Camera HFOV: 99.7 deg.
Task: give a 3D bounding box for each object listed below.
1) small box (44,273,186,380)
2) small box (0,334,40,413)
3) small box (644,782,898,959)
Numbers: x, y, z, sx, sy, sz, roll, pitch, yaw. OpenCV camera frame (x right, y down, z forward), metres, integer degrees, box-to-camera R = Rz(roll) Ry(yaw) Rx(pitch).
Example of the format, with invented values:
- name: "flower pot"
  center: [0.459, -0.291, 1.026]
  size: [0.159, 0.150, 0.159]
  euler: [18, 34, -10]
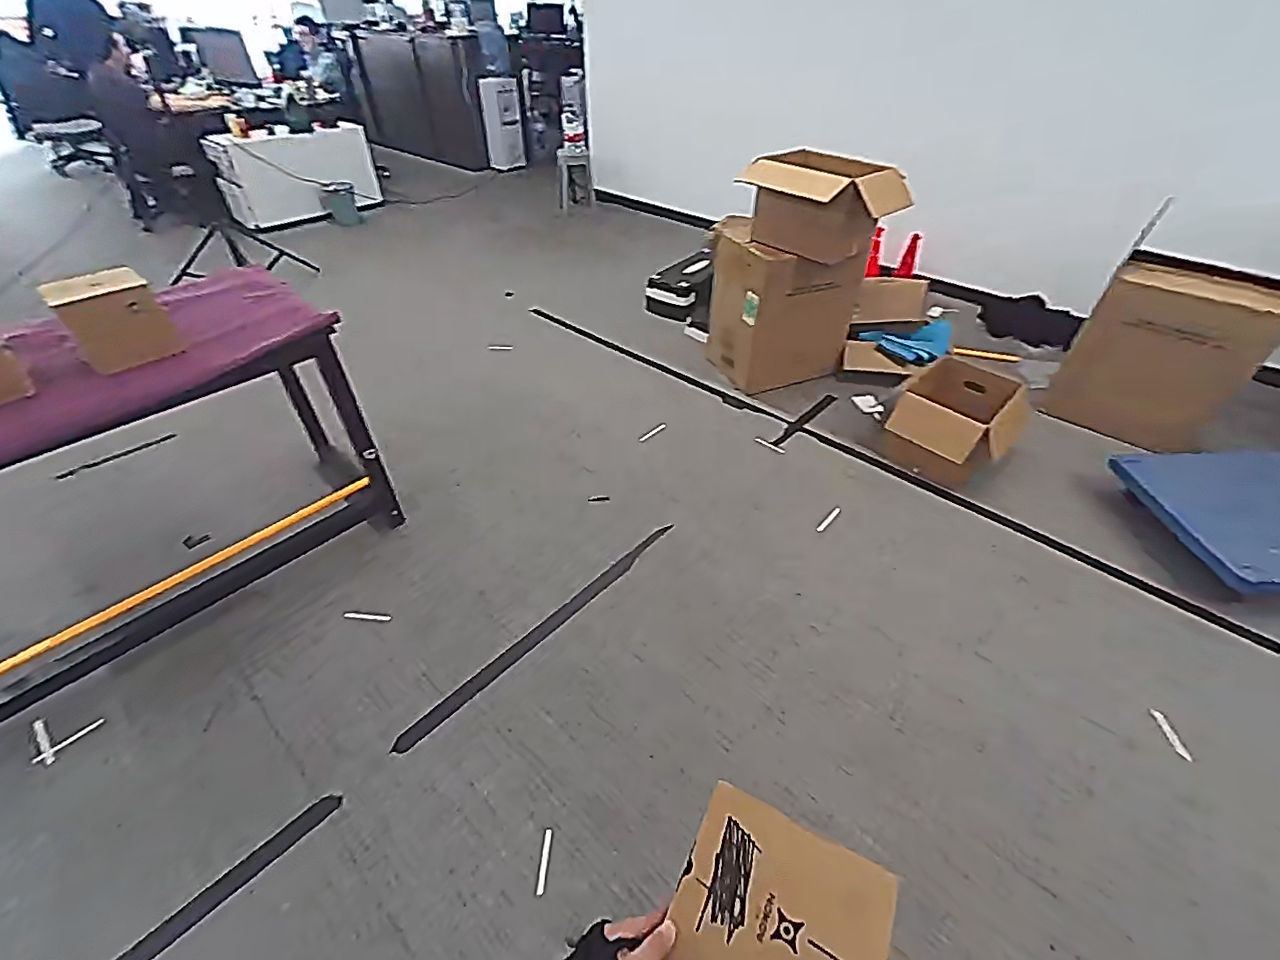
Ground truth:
- name: "small box"
  center: [-1.215, -0.361, 1.266]
  size: [0.168, 0.176, 0.179]
  euler: [29, 49, 31]
- name: "small box"
  center: [-1.418, -0.232, 1.125]
  size: [0.168, 0.176, 0.179]
  euler: [31, 50, 30]
- name: "small box"
  center: [0.121, 0.433, 0.510]
  size: [0.179, 0.176, 0.168]
  euler: [16, 45, 23]
